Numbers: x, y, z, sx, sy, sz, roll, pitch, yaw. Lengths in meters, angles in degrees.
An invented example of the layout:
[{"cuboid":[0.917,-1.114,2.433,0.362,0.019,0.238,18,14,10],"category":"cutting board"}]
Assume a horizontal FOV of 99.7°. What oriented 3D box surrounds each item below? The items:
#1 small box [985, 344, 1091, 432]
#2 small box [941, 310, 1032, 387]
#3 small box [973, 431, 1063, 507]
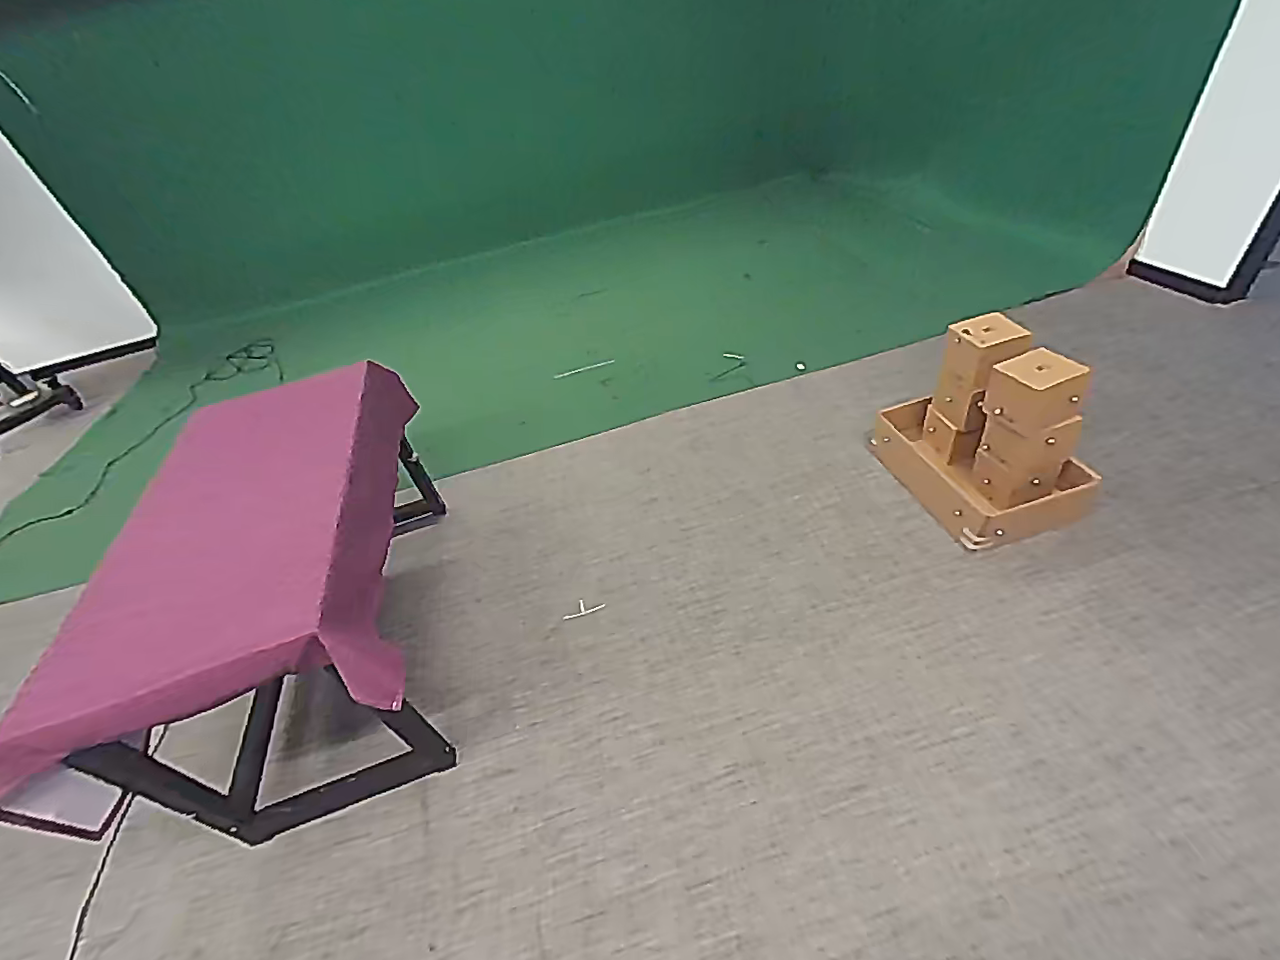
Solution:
[{"cuboid":[1.167,-0.271,1.602,0.179,0.176,0.168,-21,41,-5],"category":"small box"},{"cuboid":[1.136,-0.434,1.789,0.179,0.176,0.168,-16,41,-2],"category":"small box"},{"cuboid":[1.253,-0.034,1.812,0.179,0.176,0.168,-18,41,-3],"category":"small box"}]
